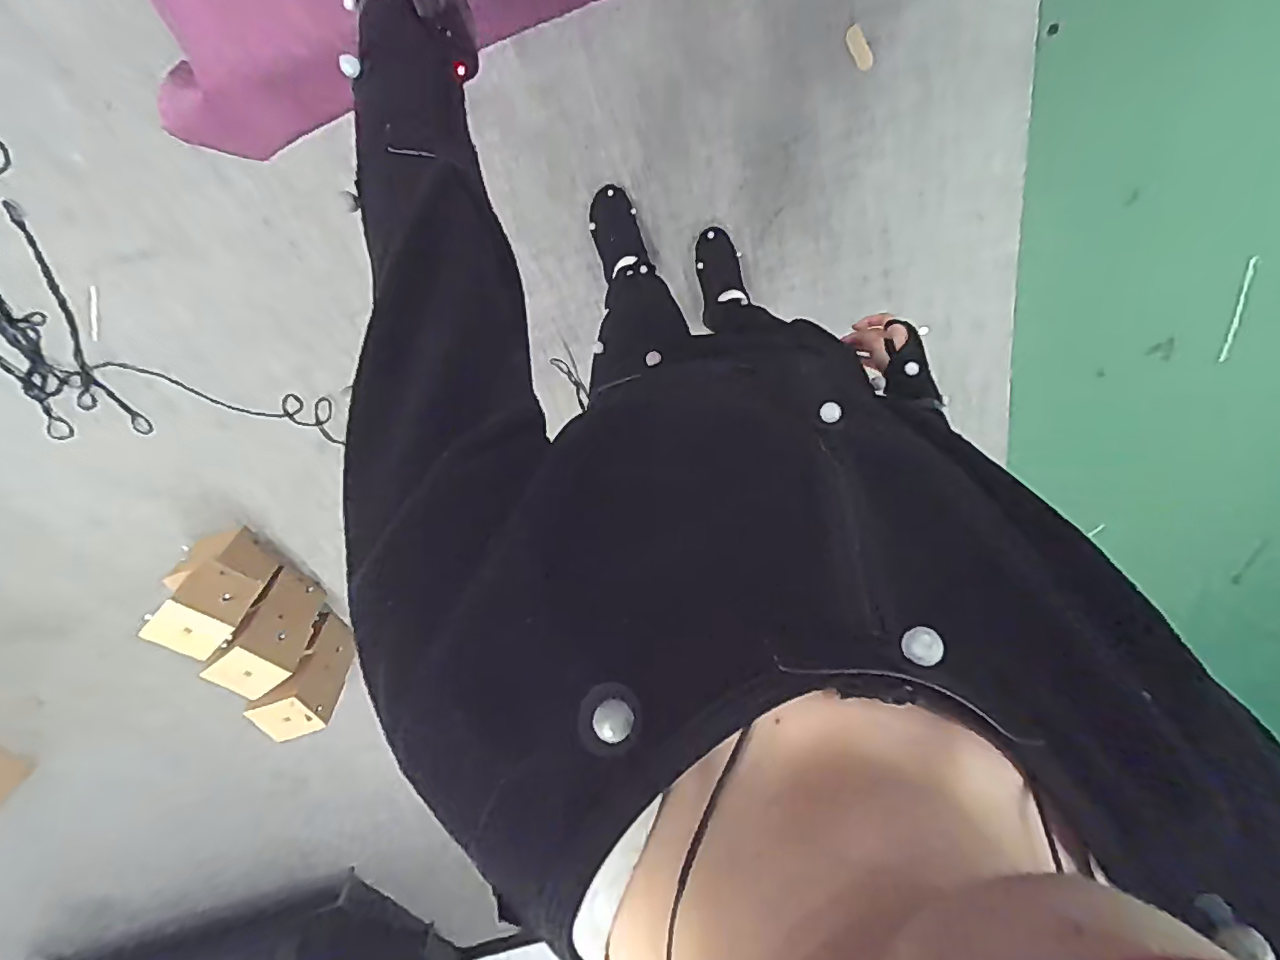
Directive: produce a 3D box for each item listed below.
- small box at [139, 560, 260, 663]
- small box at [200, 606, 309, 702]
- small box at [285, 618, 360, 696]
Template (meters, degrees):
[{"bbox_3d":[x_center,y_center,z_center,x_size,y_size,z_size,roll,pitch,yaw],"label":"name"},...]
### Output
[{"bbox_3d":[-1.171,0.349,1.453,0.179,0.176,0.168,-40,118,19],"label":"small box"},{"bbox_3d":[-1.097,0.498,1.560,0.179,0.176,0.168,-33,120,15],"label":"small box"},{"bbox_3d":[-1.082,0.584,1.811,0.168,0.176,0.179,-18,124,6],"label":"small box"}]
